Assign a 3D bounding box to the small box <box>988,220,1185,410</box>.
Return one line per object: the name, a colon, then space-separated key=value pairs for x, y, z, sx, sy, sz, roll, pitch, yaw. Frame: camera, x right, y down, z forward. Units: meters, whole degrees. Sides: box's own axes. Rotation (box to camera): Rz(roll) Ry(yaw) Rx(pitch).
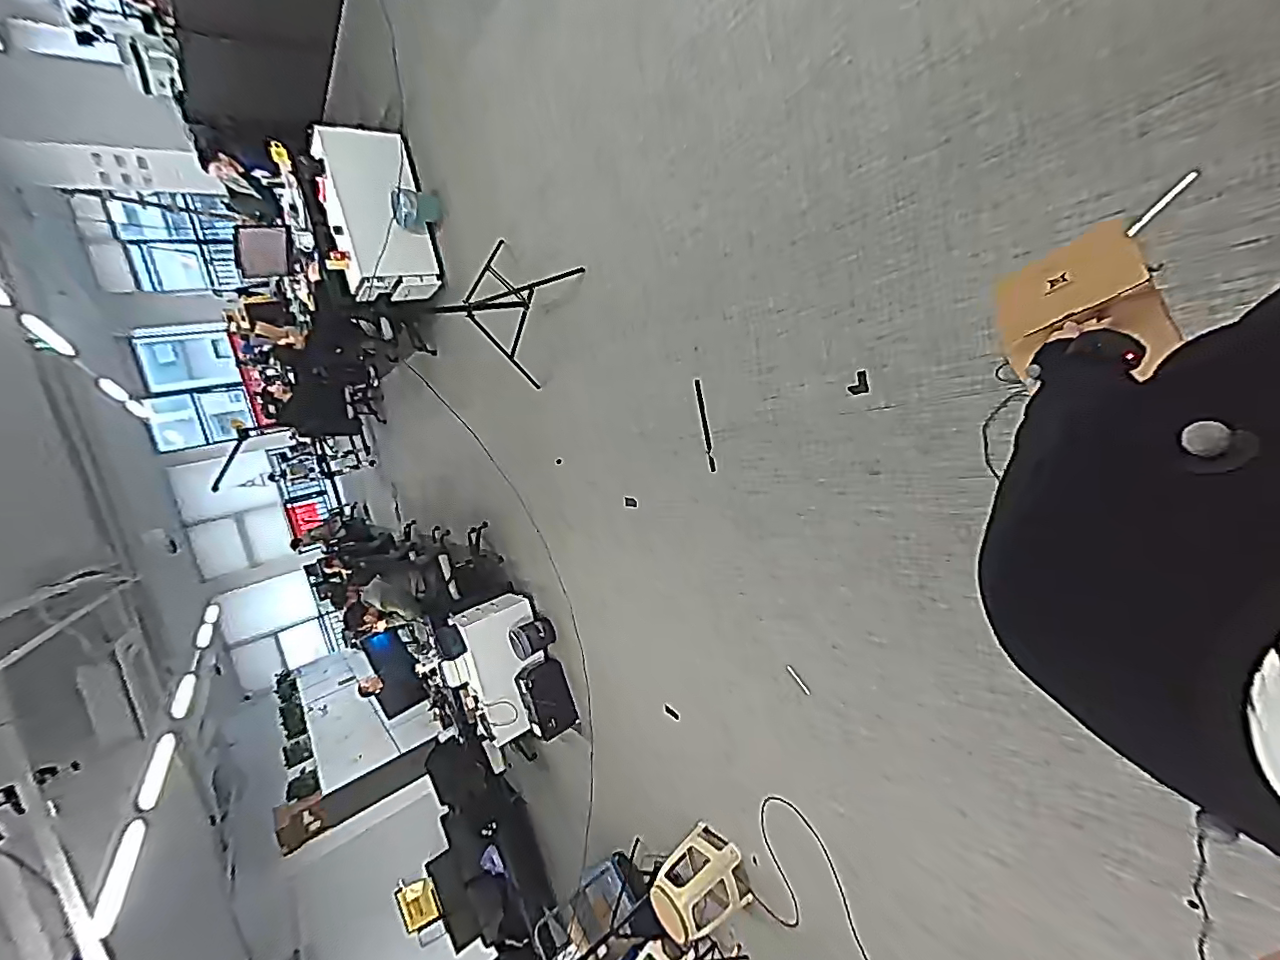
small box: x=0.637 y=-0.225 z=0.782 sx=0.176 sy=0.179 sz=0.168 roll=41 pitch=139 yaw=-22
